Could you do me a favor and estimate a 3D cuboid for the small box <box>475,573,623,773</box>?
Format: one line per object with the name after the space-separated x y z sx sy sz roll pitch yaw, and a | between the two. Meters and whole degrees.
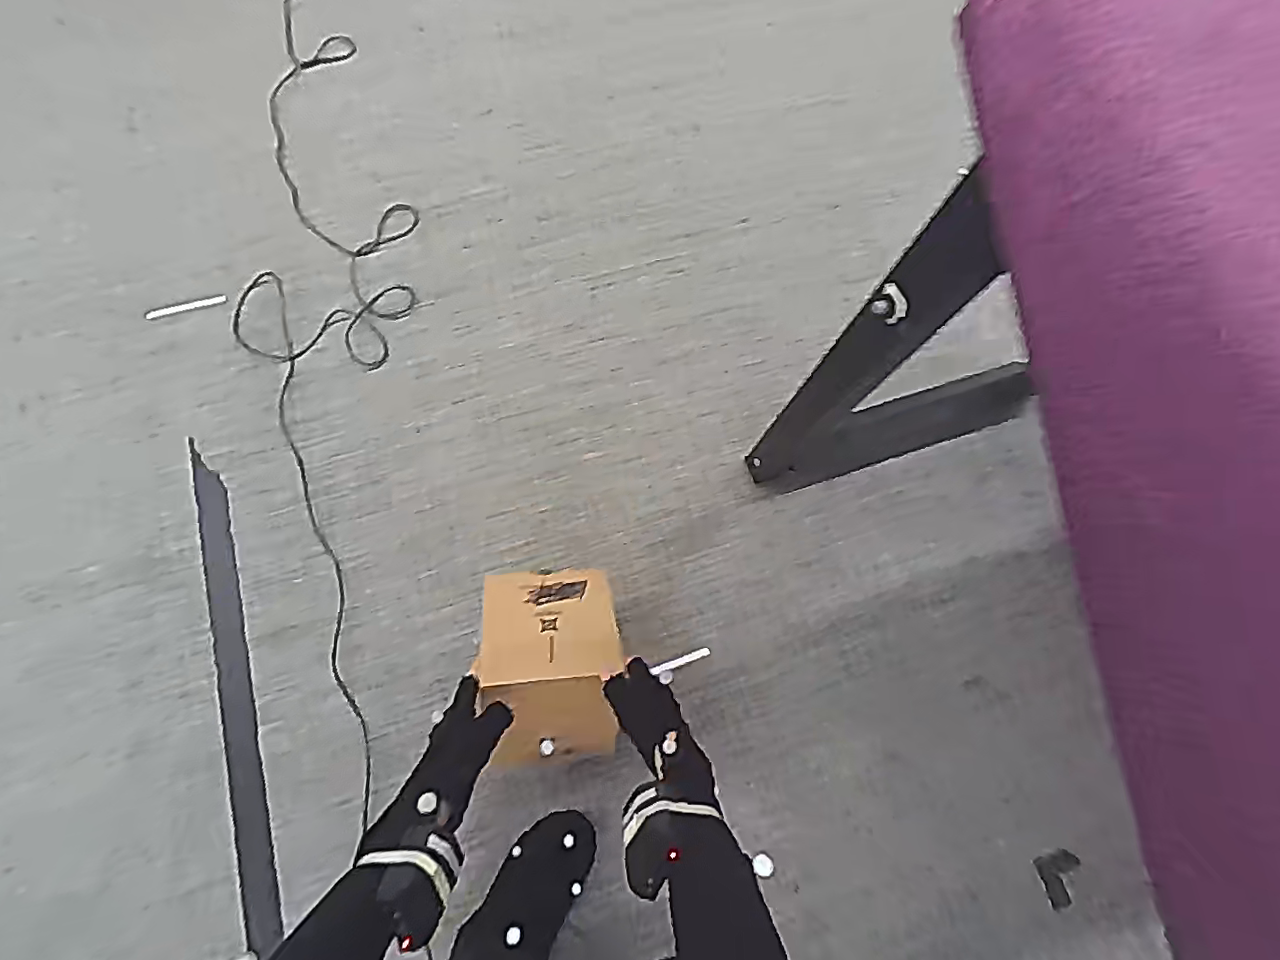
-0.122 0.242 0.701 0.168 0.176 0.179 -1 31 -13 | small box
